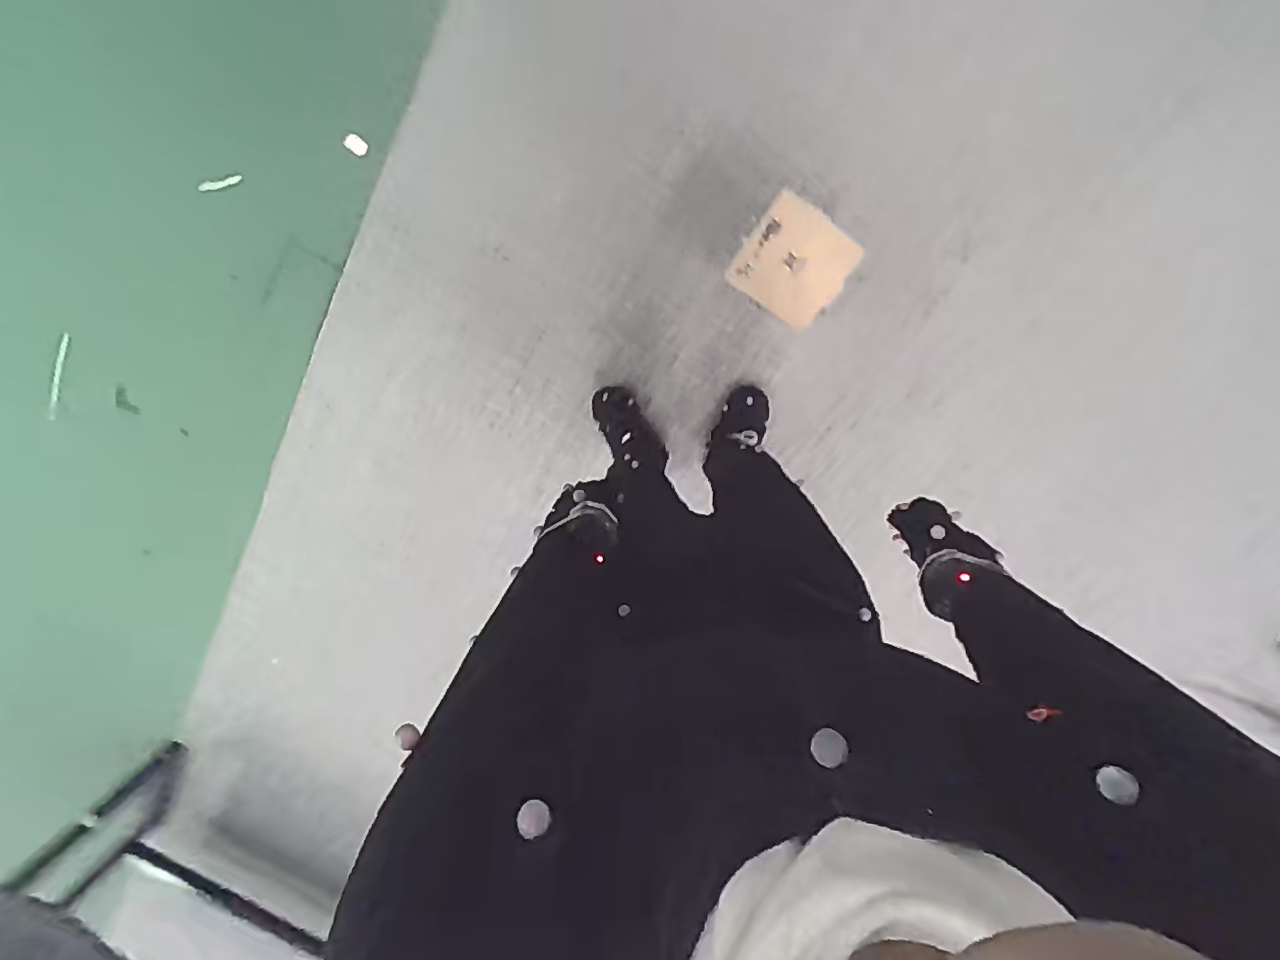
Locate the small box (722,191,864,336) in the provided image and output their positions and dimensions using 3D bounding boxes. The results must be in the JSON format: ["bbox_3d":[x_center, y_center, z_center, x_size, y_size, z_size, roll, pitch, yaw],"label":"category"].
[{"bbox_3d":[0.268,-0.390,0.983,0.179,0.176,0.168,37,112,-6],"label":"small box"}]
